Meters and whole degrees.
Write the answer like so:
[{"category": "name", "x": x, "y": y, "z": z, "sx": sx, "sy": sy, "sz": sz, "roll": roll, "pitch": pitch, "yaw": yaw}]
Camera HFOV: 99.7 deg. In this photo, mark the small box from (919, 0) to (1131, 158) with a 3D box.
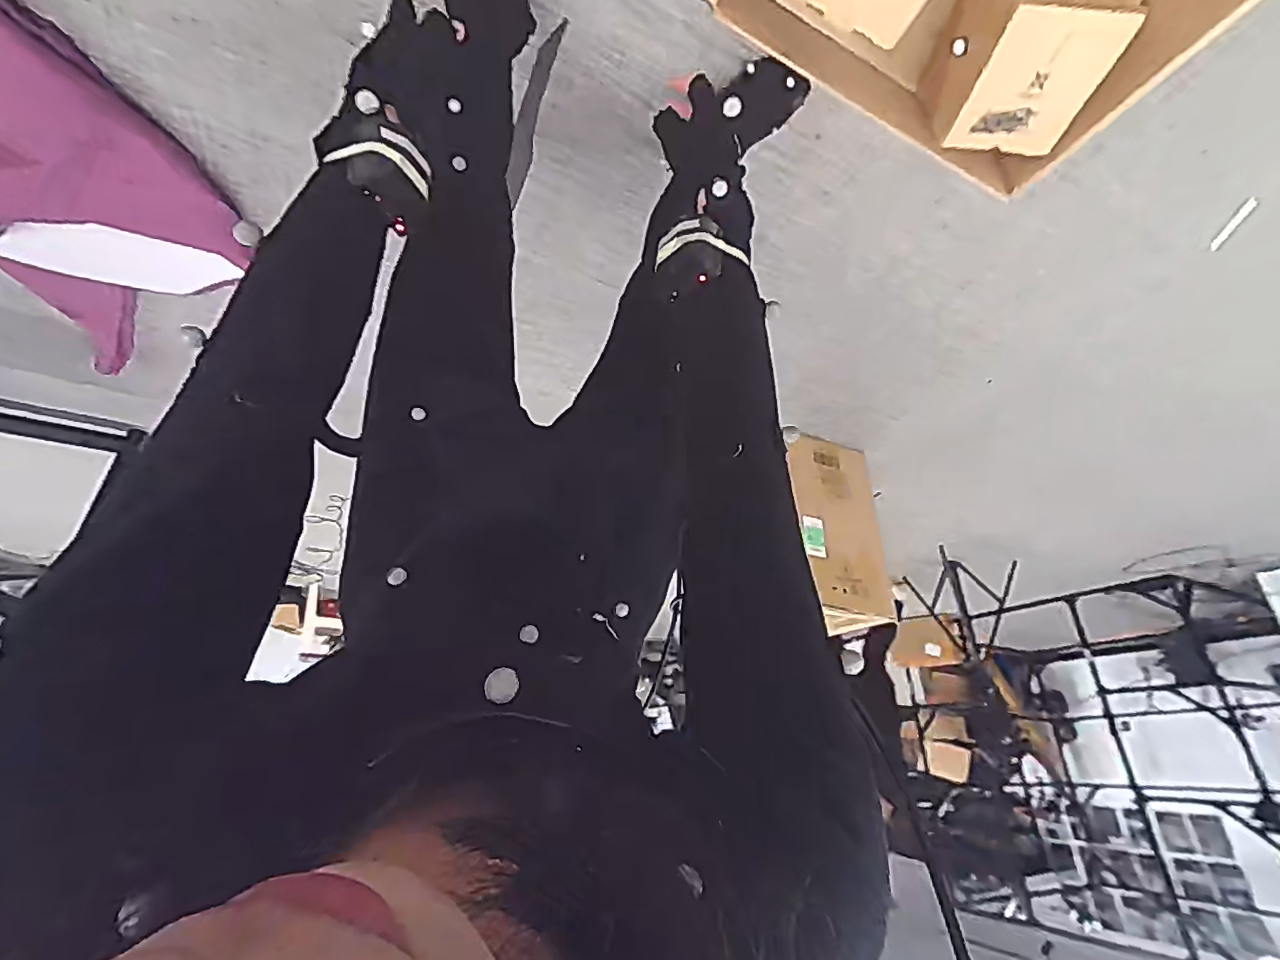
[{"category": "small box", "x": 0.531, "y": -0.607, "z": 0.780, "sx": 0.168, "sy": 0.176, "sz": 0.179, "roll": 3, "pitch": 152, "yaw": -3}]
